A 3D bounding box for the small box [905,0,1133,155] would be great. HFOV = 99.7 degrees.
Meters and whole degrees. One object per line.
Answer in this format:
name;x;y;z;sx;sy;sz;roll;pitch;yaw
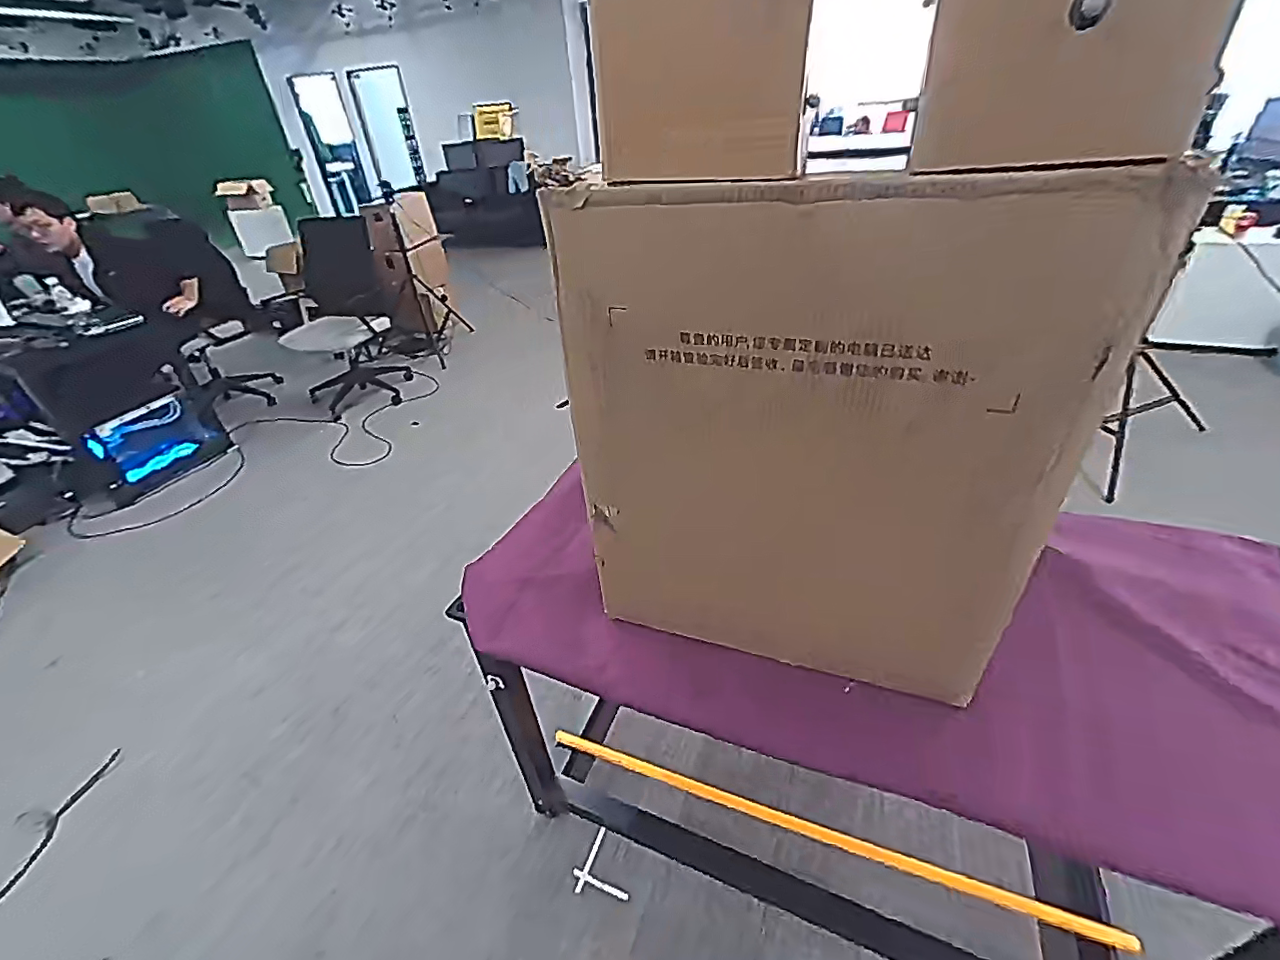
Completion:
small box;0.385;-0.449;0.571;0.168;0.176;0.179;10;37;22
